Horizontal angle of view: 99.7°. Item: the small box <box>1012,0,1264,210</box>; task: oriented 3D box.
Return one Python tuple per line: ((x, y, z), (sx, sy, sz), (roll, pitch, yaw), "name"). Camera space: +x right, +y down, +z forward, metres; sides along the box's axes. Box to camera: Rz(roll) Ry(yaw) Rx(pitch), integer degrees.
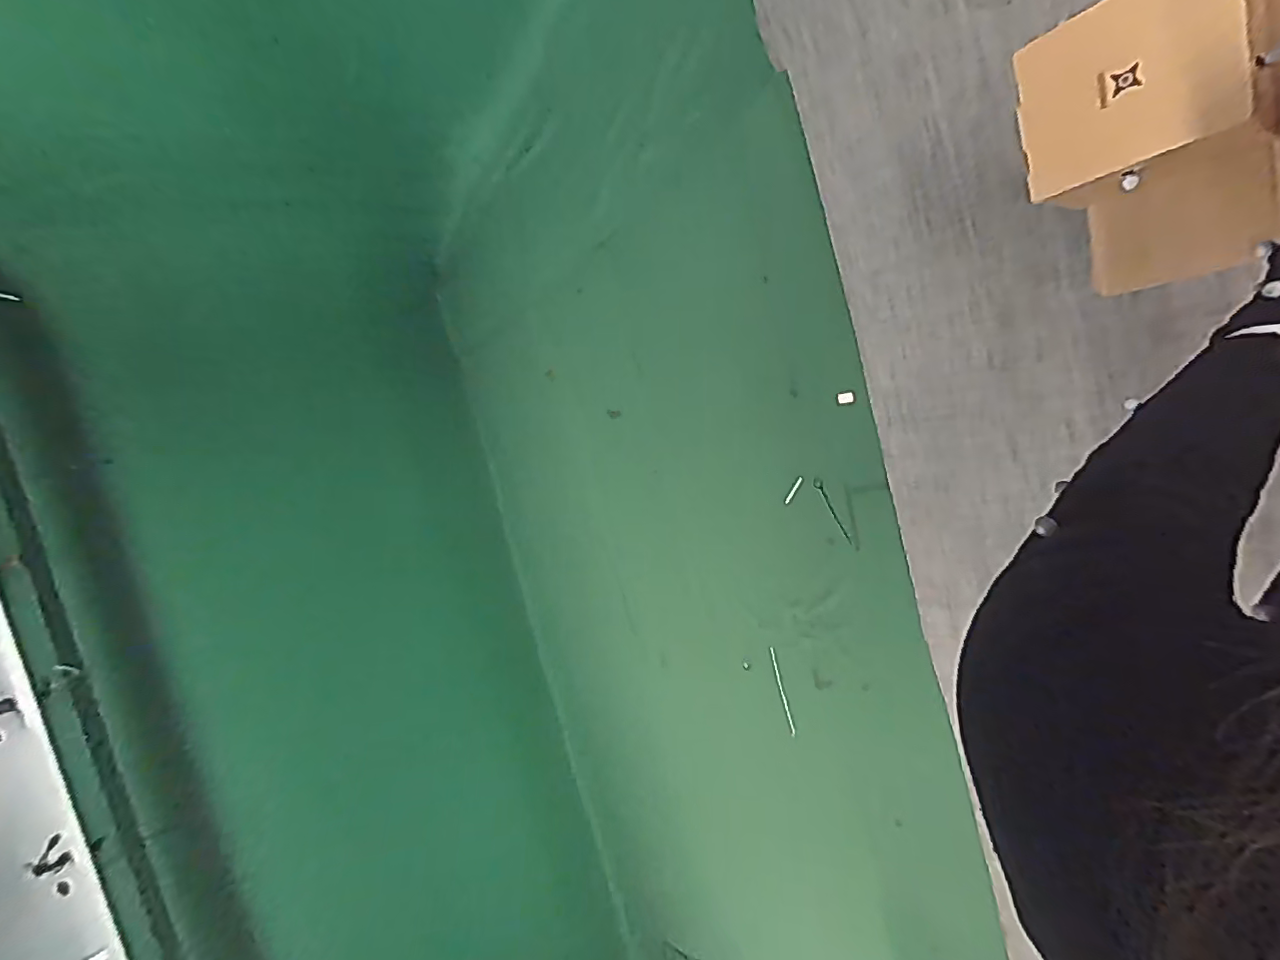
((0.553, -0.420, 0.601), (0.179, 0.176, 0.168), (-3, 101, 55), "small box")
